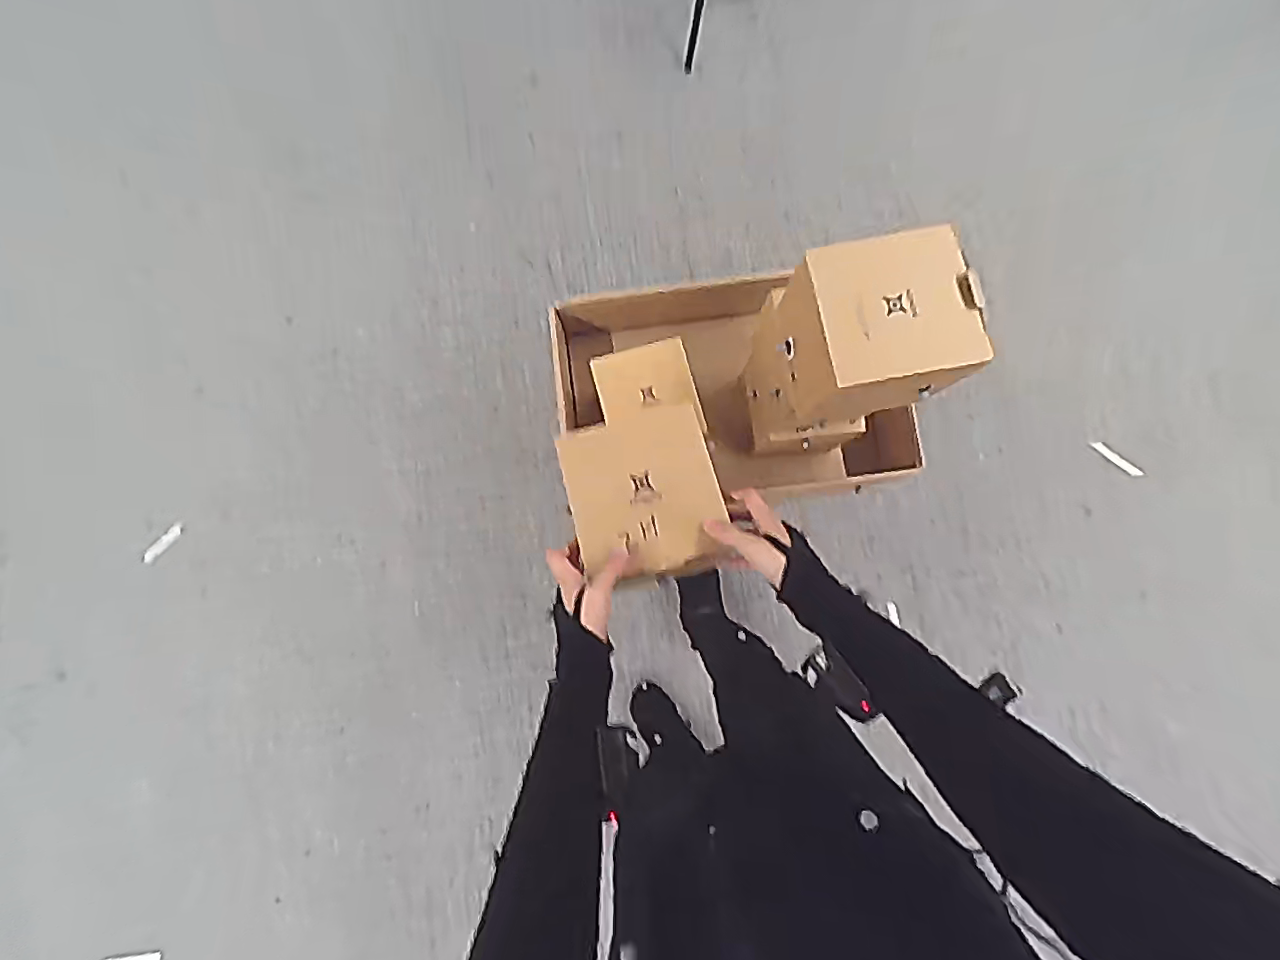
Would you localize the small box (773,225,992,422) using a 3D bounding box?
[{"bbox_3d":[0.283,-0.182,0.673,0.179,0.176,0.168,-10,81,-1],"label":"small box"}]

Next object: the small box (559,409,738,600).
[{"bbox_3d":[0.008,0.039,0.667,0.168,0.176,0.179,-15,74,-2],"label":"small box"}]

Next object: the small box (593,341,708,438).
[{"bbox_3d":[0.016,-0.128,1.001,0.168,0.176,0.179,-16,82,-1],"label":"small box"}]
